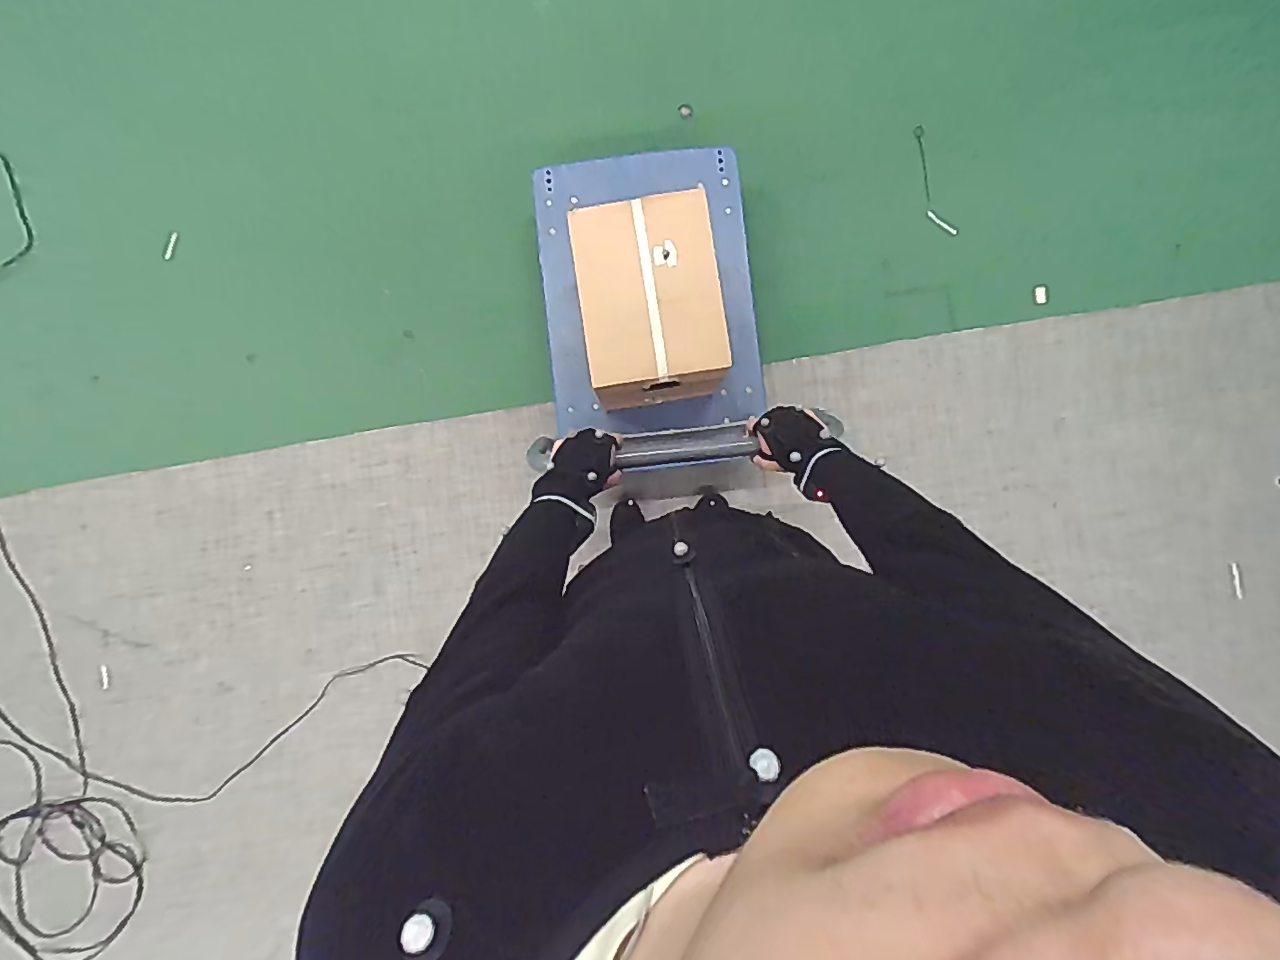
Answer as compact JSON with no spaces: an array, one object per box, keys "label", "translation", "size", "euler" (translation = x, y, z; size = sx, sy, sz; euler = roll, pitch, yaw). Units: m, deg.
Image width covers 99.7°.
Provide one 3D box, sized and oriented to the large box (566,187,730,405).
[{"label":"large box","translation":[0.022,-0.427,1.343],"size":[0.320,0.320,0.408],"euler":[-9,88,1]}]
